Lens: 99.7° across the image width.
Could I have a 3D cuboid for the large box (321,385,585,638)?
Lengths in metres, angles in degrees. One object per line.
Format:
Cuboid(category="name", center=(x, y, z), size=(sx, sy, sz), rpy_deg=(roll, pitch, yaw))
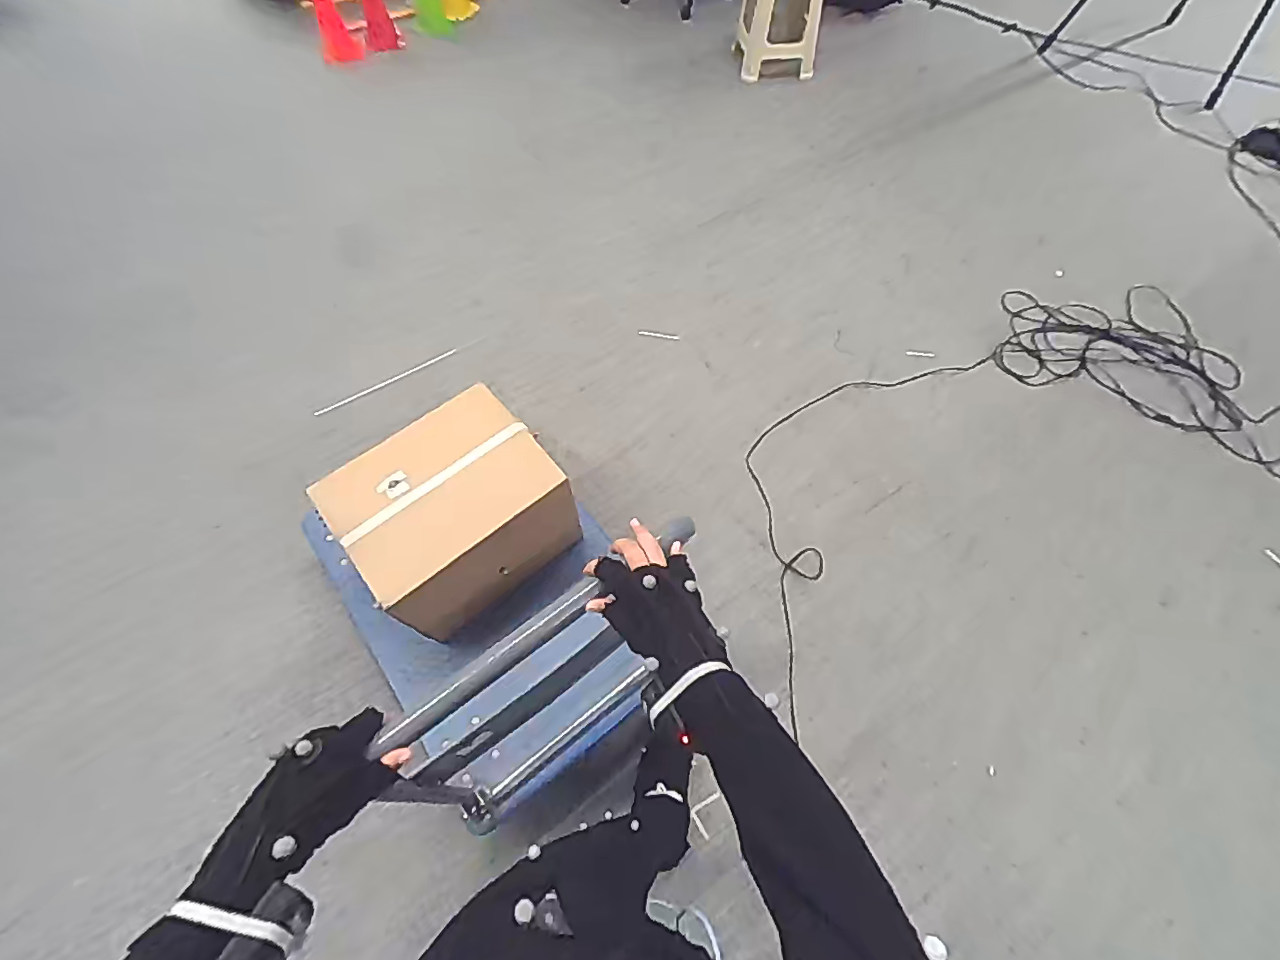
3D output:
Cuboid(category="large box", center=(-0.377, 0.076, 1.193), size=(0.408, 0.320, 0.320), rpy_deg=(-38, 68, -17))
